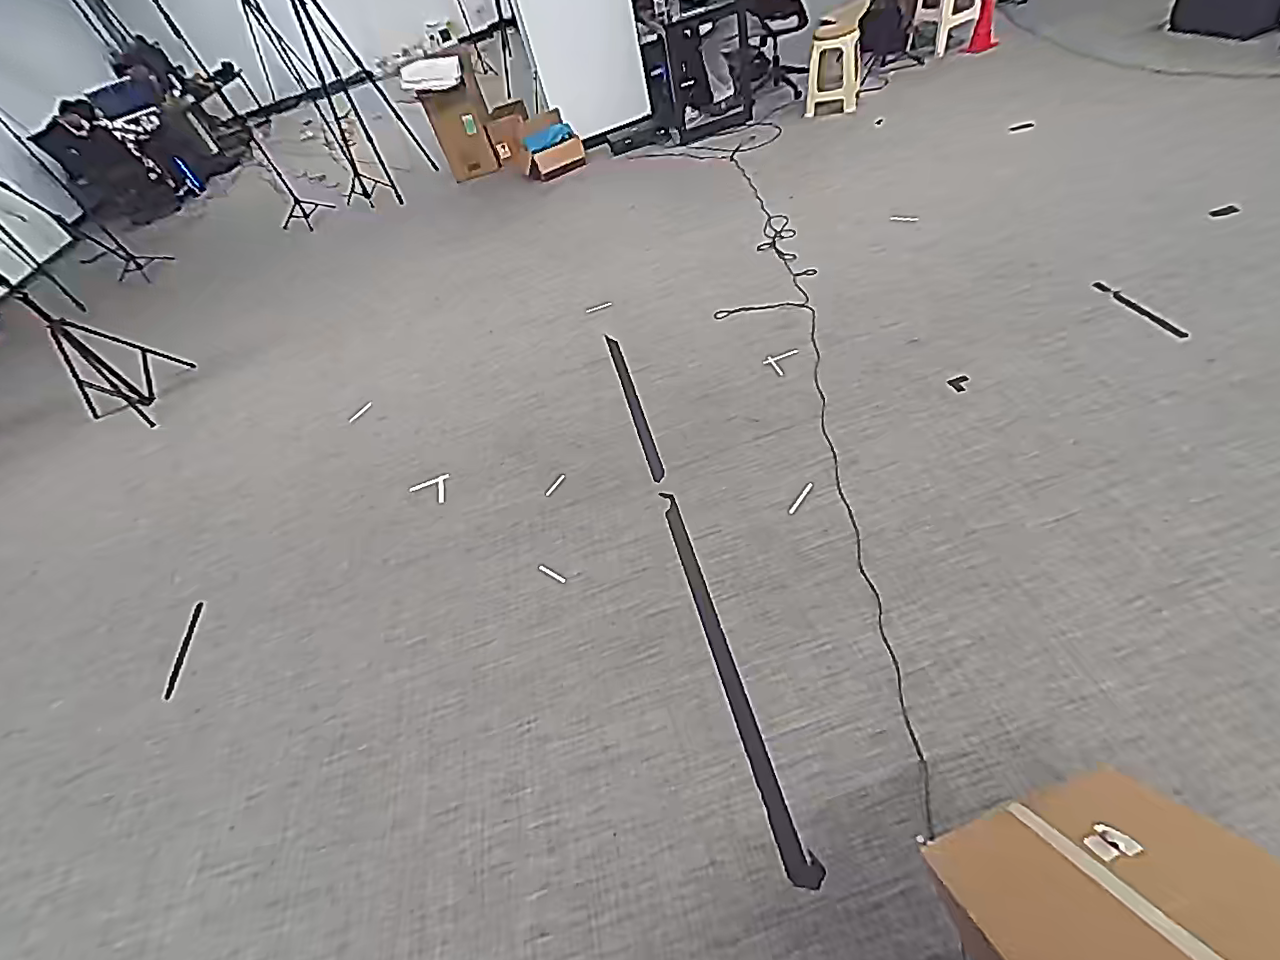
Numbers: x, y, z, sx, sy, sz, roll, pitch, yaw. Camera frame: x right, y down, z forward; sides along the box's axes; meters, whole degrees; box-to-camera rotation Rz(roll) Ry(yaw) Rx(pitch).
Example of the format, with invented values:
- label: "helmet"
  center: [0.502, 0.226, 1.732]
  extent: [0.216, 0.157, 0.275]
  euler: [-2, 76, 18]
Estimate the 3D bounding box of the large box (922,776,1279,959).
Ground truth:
- label: "large box"
  center: [0.620, 0.625, 0.607]
  extent: [0.320, 0.408, 0.320]
  euler: [-23, 84, -1]
